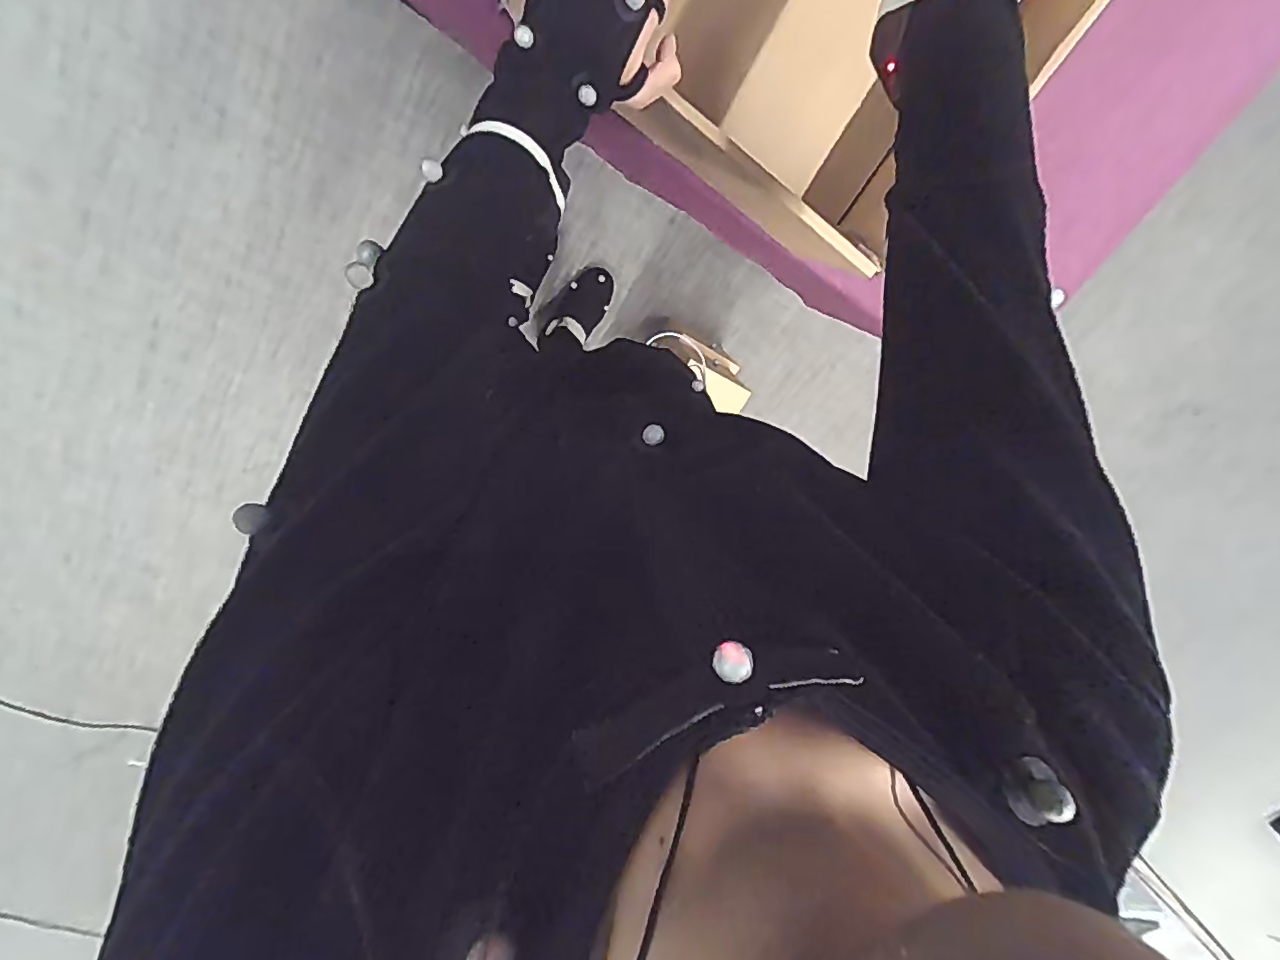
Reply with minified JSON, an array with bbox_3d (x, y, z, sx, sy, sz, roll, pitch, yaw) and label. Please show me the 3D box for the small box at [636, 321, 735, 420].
[{"bbox_3d":[0.110,-0.287,1.390,0.179,0.176,0.168,25,112,-21],"label":"small box"}]
